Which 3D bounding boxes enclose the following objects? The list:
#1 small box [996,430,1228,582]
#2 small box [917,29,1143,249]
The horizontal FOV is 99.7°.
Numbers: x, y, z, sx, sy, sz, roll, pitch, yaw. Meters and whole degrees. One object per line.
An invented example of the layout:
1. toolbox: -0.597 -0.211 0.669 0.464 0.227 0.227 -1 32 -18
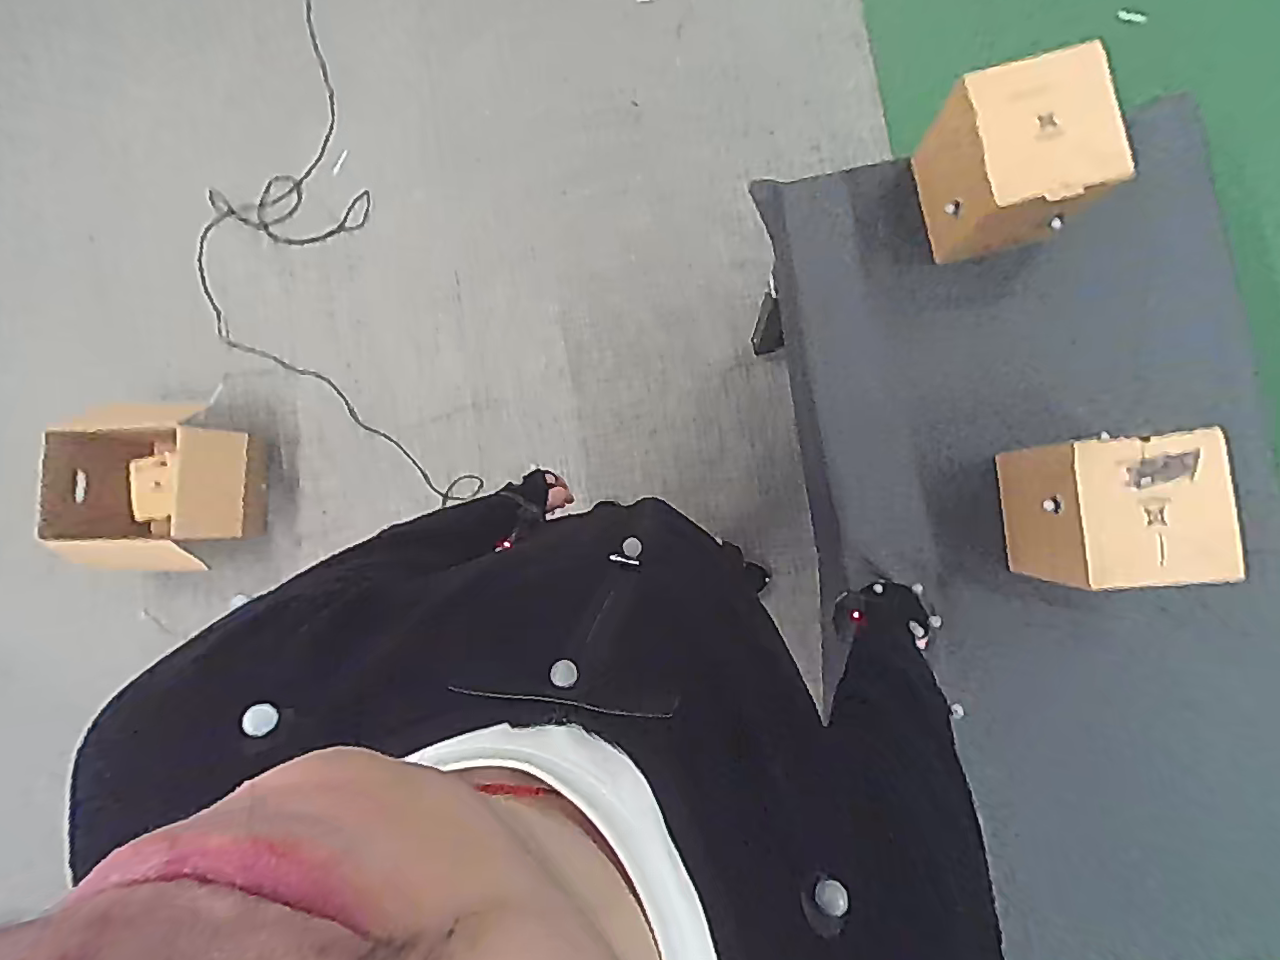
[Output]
1. small box: 0.595 0.035 0.707 0.168 0.176 0.179 -2 88 8
2. small box: 0.499 -0.432 0.721 0.168 0.176 0.179 -11 86 4
